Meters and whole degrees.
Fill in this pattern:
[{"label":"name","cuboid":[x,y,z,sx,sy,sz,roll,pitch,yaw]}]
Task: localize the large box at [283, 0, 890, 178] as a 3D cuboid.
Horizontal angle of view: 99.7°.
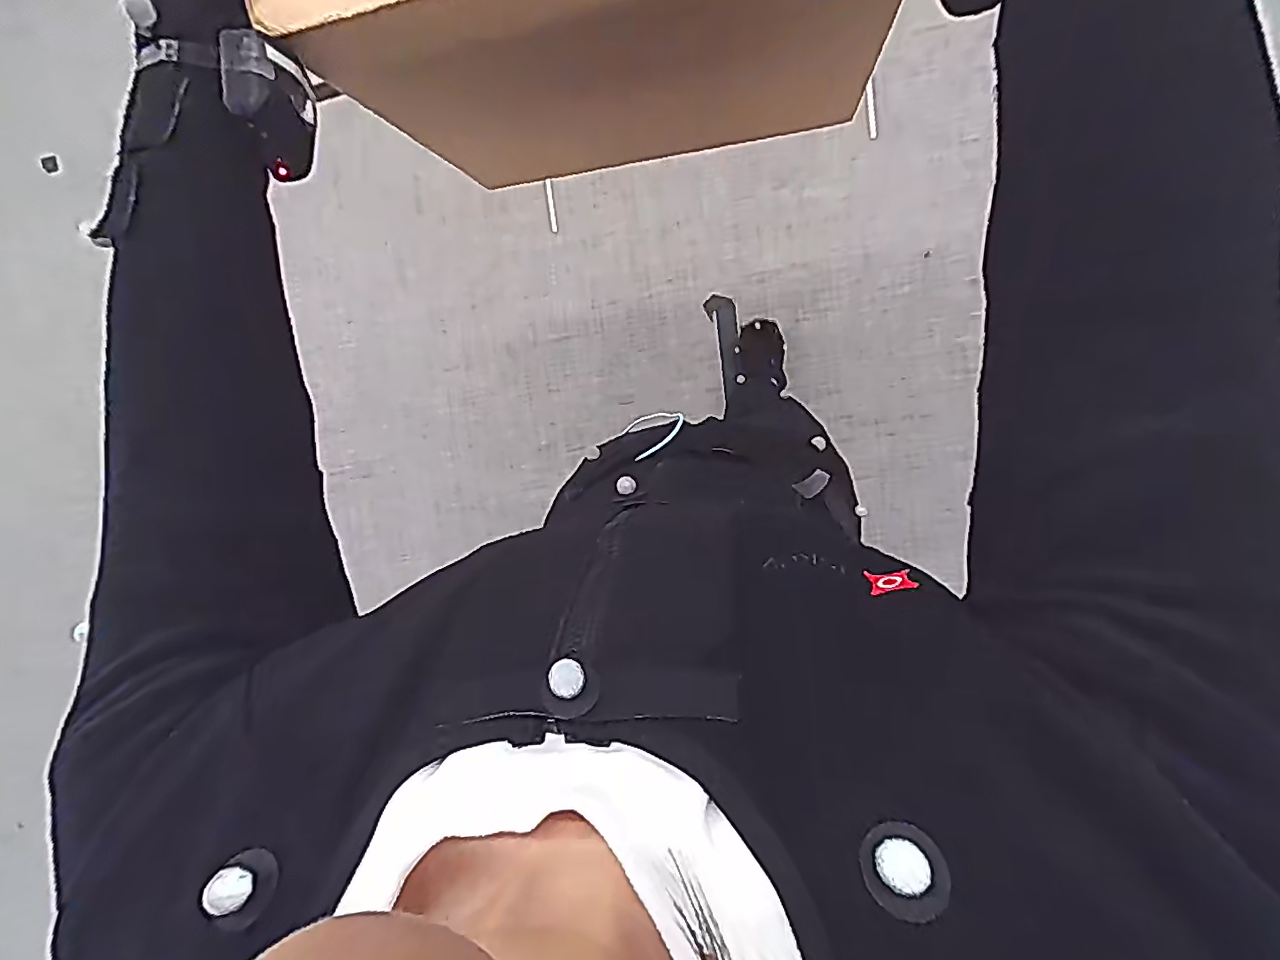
[{"label":"large box","cuboid":[-0.024,-0.483,0.420,0.408,0.320,0.320,-5,102,11]}]
